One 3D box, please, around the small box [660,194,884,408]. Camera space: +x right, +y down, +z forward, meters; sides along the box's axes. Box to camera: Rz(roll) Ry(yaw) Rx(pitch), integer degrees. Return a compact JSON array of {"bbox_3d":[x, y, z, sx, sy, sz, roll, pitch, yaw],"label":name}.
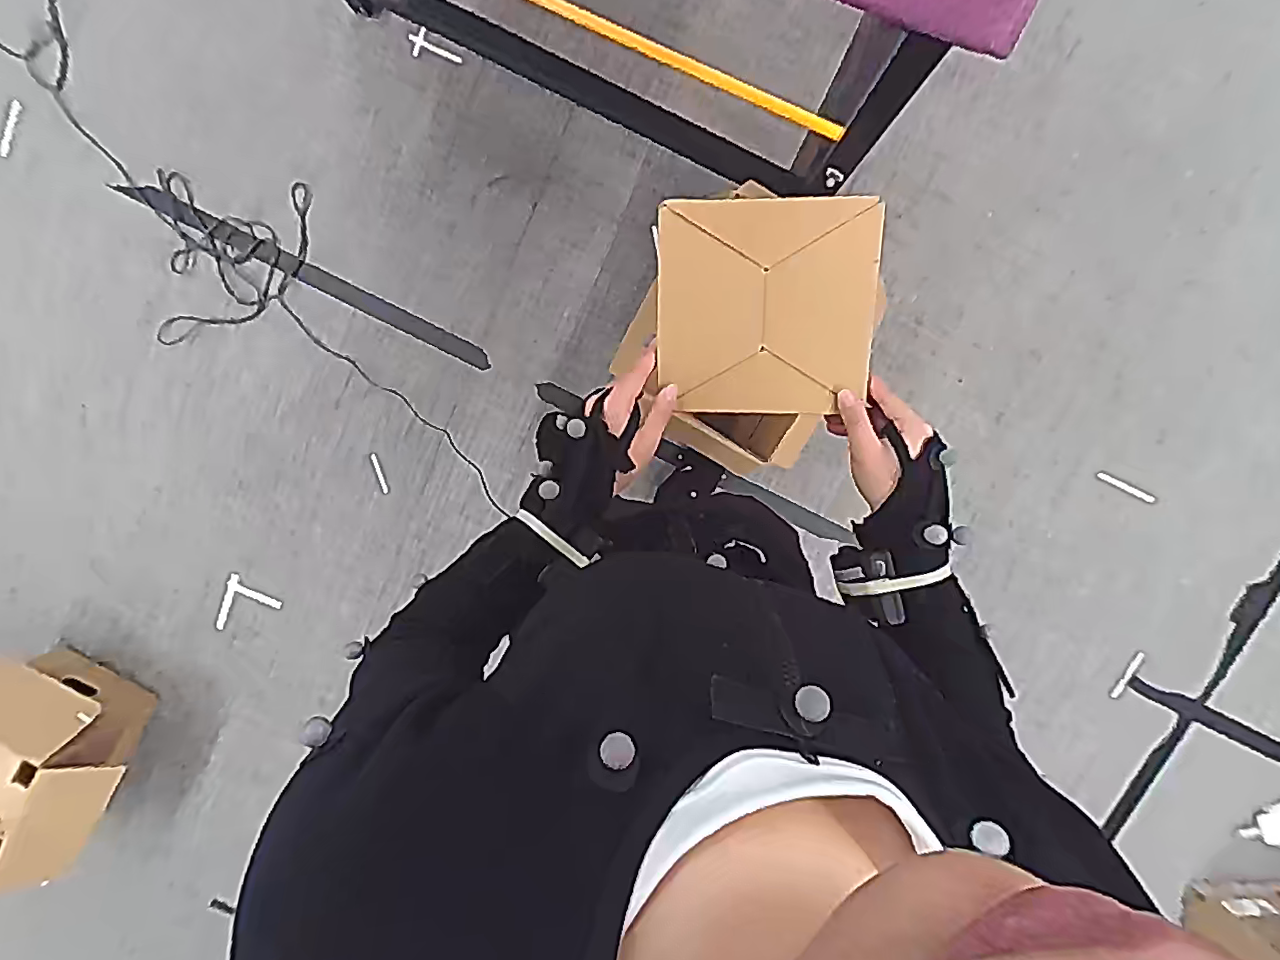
[{"bbox_3d":[0.107,-0.159,0.514,0.179,0.176,0.168,1,102,4],"label":"small box"}]
